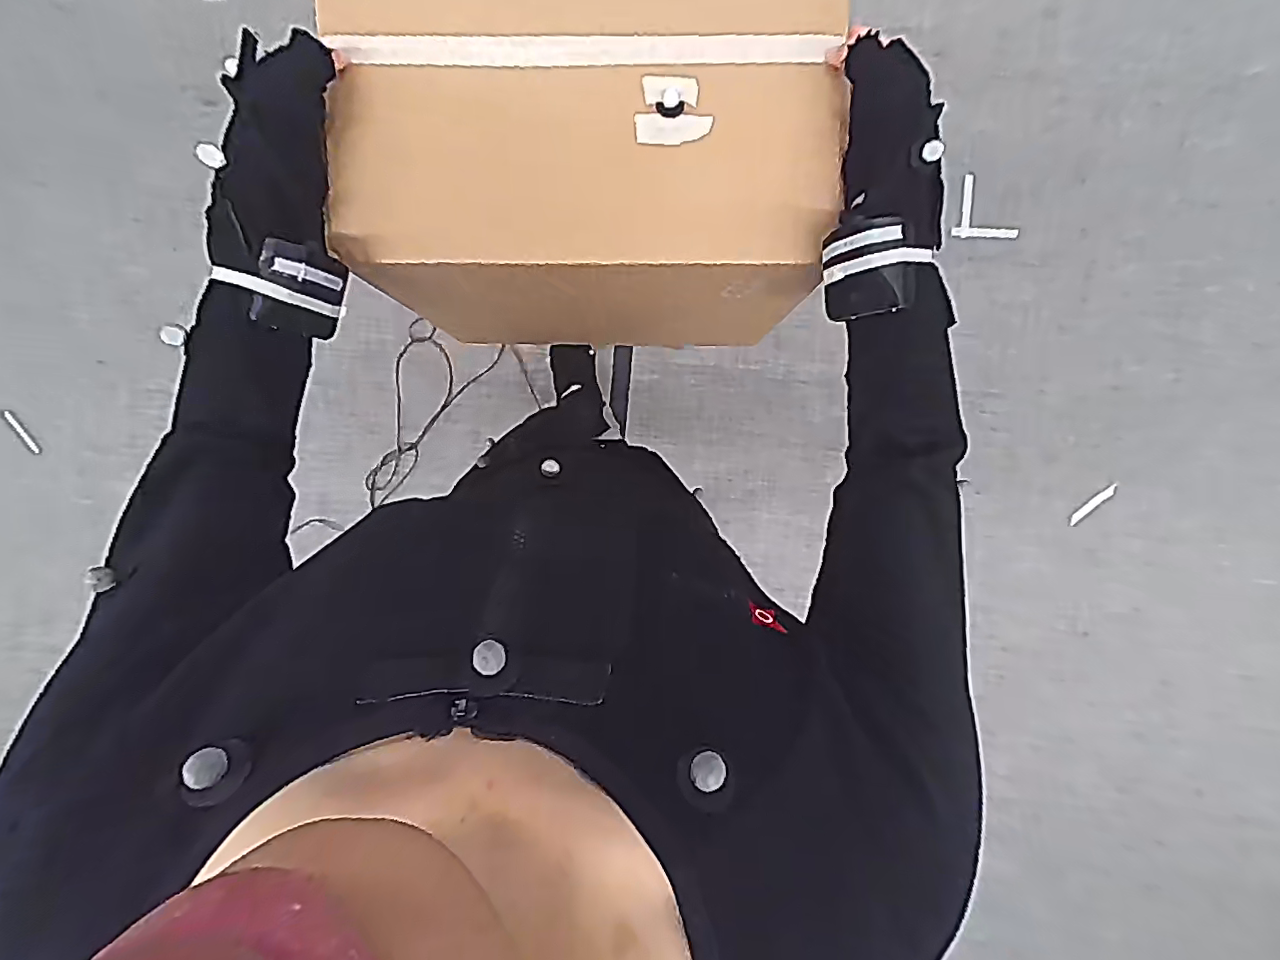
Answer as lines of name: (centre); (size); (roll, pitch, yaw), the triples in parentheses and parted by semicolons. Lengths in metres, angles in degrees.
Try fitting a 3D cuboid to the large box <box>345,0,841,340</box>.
large box: (-0.039, -0.341, 0.581); (0.408, 0.320, 0.320); (0, 92, 0)
